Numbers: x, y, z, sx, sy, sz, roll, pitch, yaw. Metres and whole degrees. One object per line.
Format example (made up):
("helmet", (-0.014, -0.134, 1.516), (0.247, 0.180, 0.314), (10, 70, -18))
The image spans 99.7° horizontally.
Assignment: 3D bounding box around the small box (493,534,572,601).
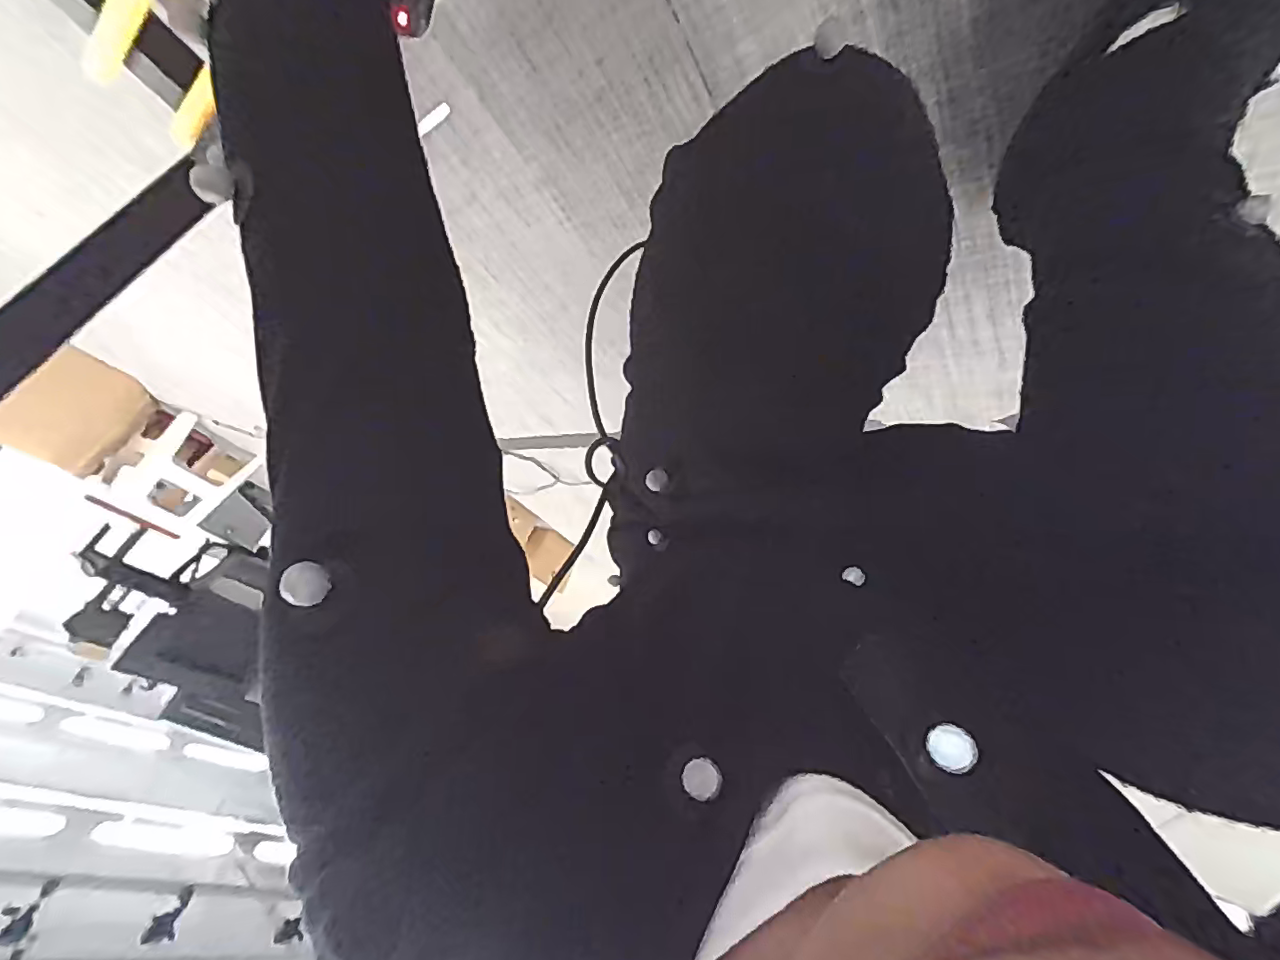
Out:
("small box", (-0.366, 0.299, 1.881), (0.168, 0.176, 0.179), (0, 147, 38))
